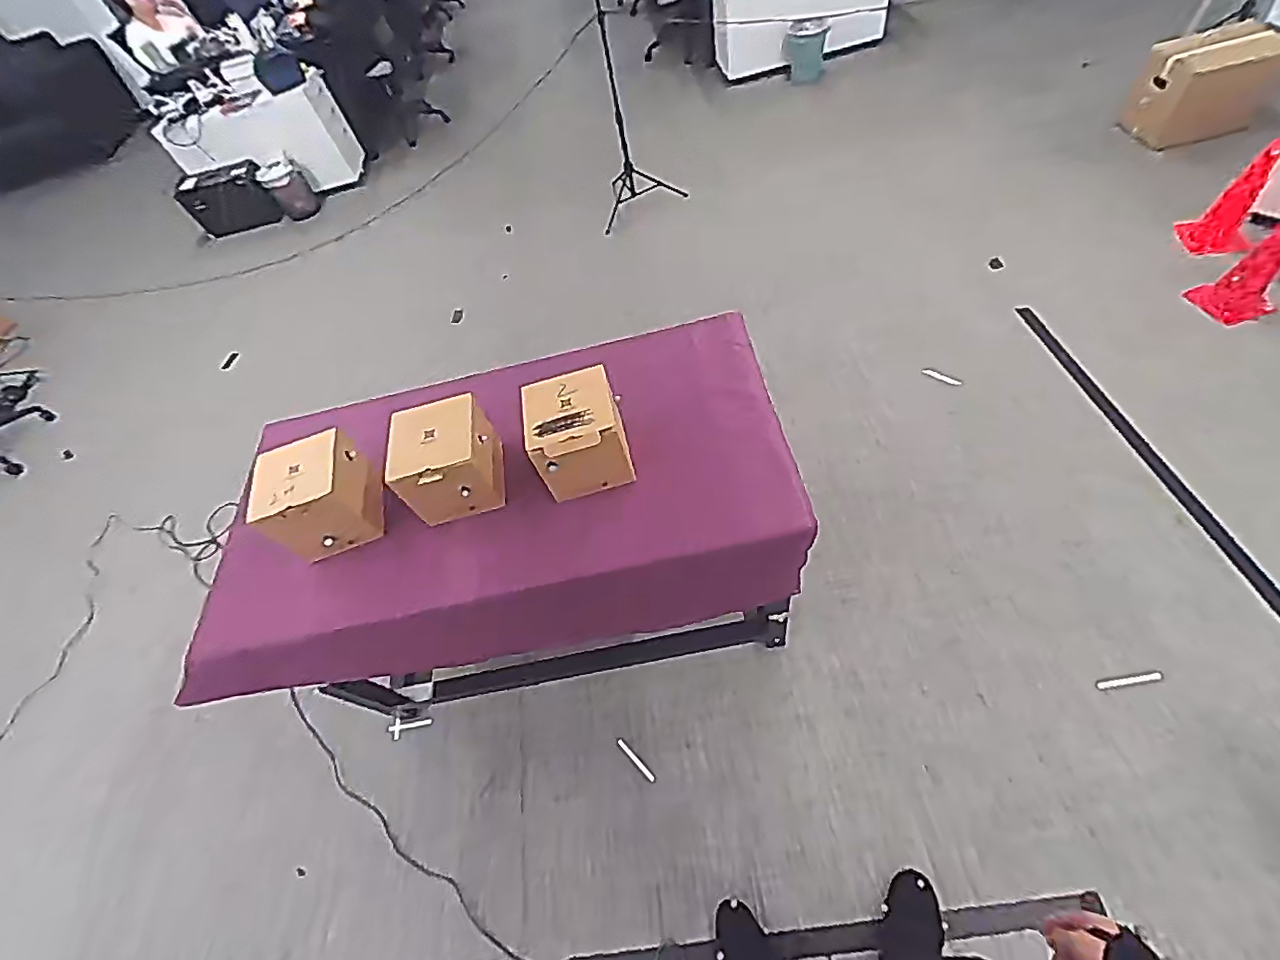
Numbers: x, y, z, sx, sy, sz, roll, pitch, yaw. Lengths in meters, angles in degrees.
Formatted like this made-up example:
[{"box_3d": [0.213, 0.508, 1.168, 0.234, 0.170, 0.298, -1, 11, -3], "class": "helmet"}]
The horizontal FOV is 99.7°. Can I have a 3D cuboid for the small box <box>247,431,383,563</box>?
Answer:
[{"box_3d": [-0.640, 0.038, 1.088, 0.168, 0.176, 0.179, -21, 55, -1], "class": "small box"}]

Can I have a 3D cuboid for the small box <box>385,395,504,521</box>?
[{"box_3d": [-0.380, -0.034, 1.080, 0.168, 0.176, 0.179, -14, 54, 2], "class": "small box"}]
